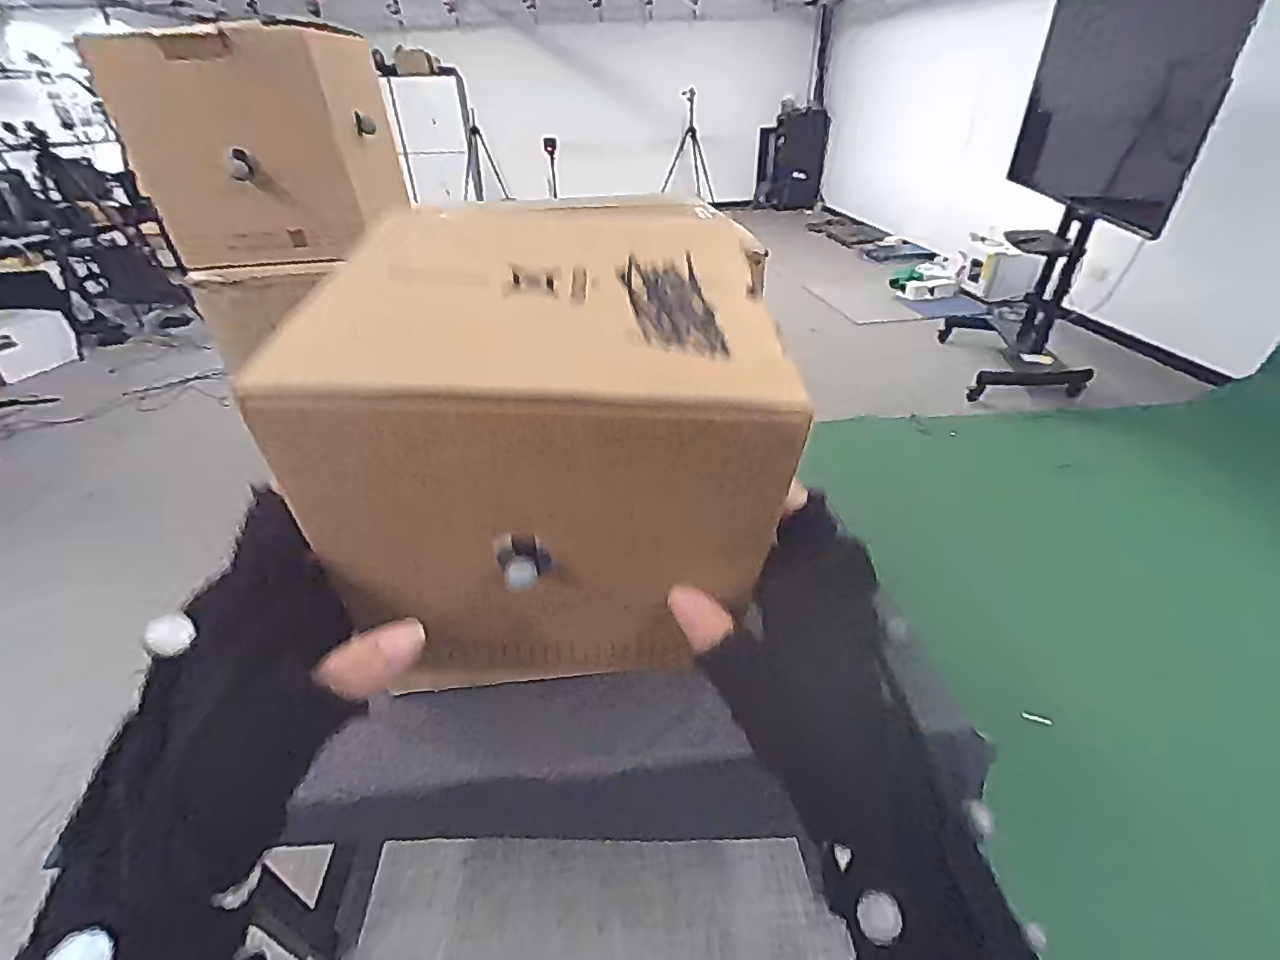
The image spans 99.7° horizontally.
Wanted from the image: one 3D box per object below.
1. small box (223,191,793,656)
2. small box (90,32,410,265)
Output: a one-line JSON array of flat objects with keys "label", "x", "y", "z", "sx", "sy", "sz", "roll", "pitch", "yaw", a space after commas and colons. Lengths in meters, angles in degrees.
[{"label": "small box", "x": -0.043, "y": -0.025, "z": 0.275, "sx": 0.179, "sy": 0.176, "sz": 0.168, "roll": 2, "pitch": 44, "yaw": -3}, {"label": "small box", "x": -0.330, "y": -0.311, "z": 0.515, "sx": 0.168, "sy": 0.176, "sz": 0.179, "roll": -5, "pitch": 37, "yaw": -4}]
